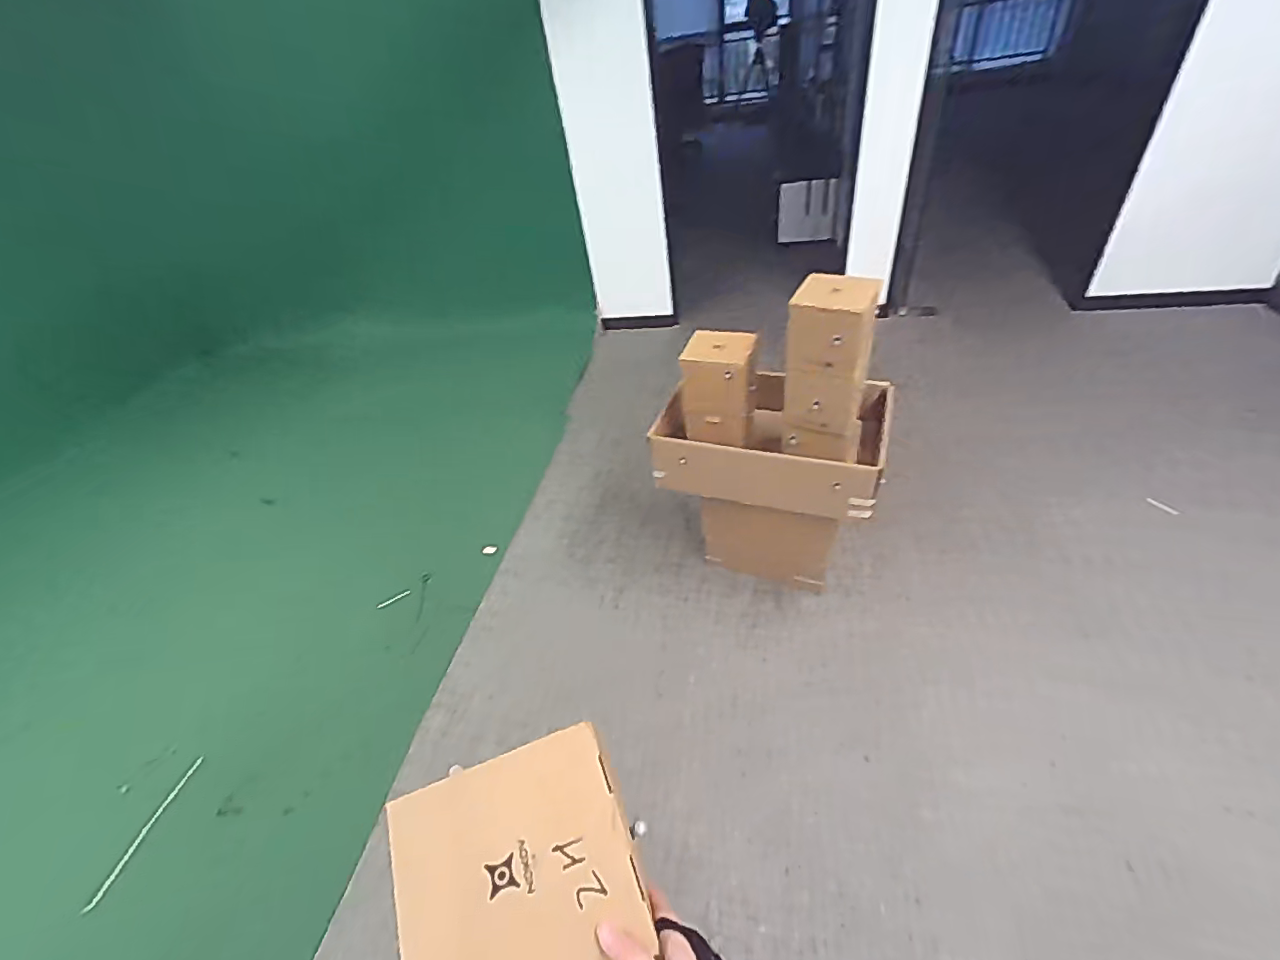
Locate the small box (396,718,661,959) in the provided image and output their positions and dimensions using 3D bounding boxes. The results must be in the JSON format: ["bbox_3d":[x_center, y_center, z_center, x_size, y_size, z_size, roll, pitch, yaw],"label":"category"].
[{"bbox_3d":[-0.089,0.340,0.478,0.179,0.176,0.168,-18,56,-9],"label":"small box"}]

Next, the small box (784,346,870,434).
[{"bbox_3d":[0.474,-0.238,1.377,0.168,0.176,0.179,14,47,26],"label":"small box"}]

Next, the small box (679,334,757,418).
[{"bbox_3d":[0.219,-0.286,1.490,0.179,0.176,0.168,9,45,20],"label":"small box"}]

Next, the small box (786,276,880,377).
[{"bbox_3d":[0.450,-0.361,1.270,0.168,0.176,0.179,16,46,27],"label":"small box"}]
